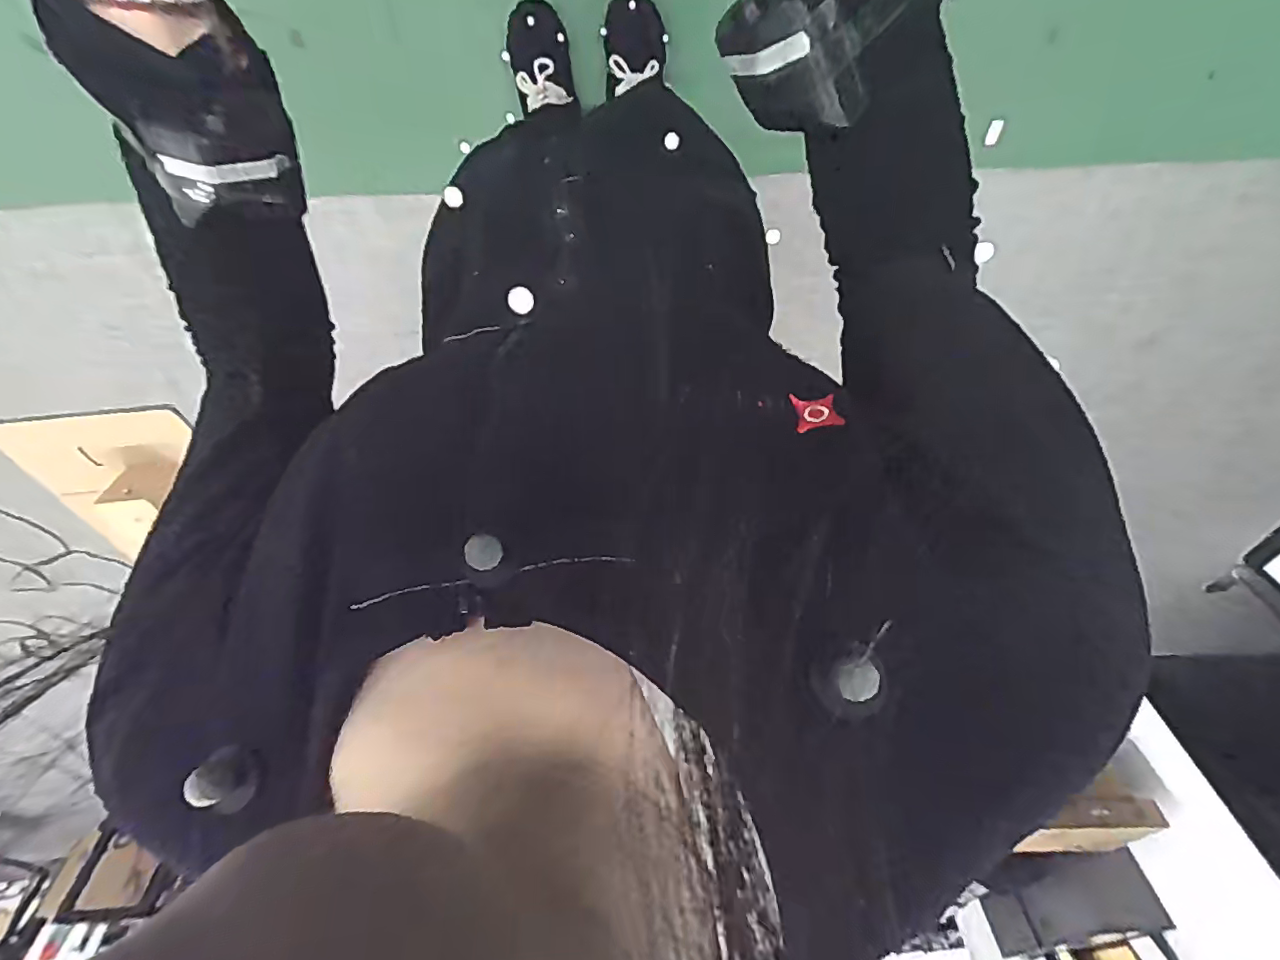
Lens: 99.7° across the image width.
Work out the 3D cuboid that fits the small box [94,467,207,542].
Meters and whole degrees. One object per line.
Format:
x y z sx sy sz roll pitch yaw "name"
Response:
-1.564 0.076 1.743 0.179 0.176 0.168 -7 134 1 "small box"
